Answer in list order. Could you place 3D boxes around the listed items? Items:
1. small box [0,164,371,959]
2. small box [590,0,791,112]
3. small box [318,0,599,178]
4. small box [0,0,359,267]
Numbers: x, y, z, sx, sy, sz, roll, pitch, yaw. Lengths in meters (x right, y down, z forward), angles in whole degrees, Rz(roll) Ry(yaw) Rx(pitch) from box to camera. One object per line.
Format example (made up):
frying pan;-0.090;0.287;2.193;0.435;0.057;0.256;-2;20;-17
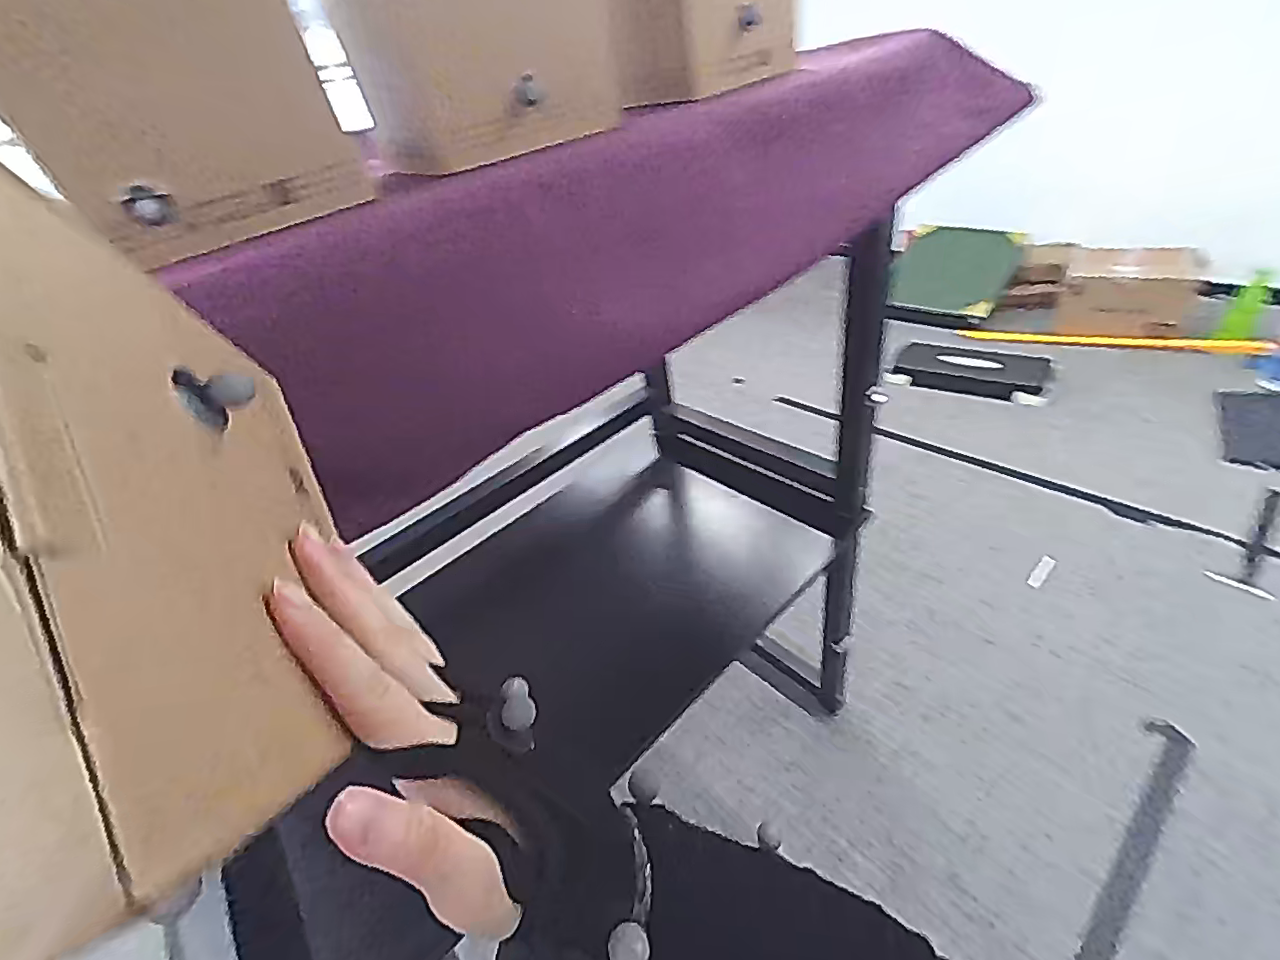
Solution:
small box;-0.195;0.041;0.143;0.179;0.176;0.168;-22;82;-15
small box;0.042;-0.513;0.581;0.168;0.176;0.179;-34;42;-24
small box;-0.150;-0.371;0.457;0.179;0.176;0.168;-32;41;-25
small box;-0.322;-0.252;0.354;0.179;0.176;0.168;24;50;39
